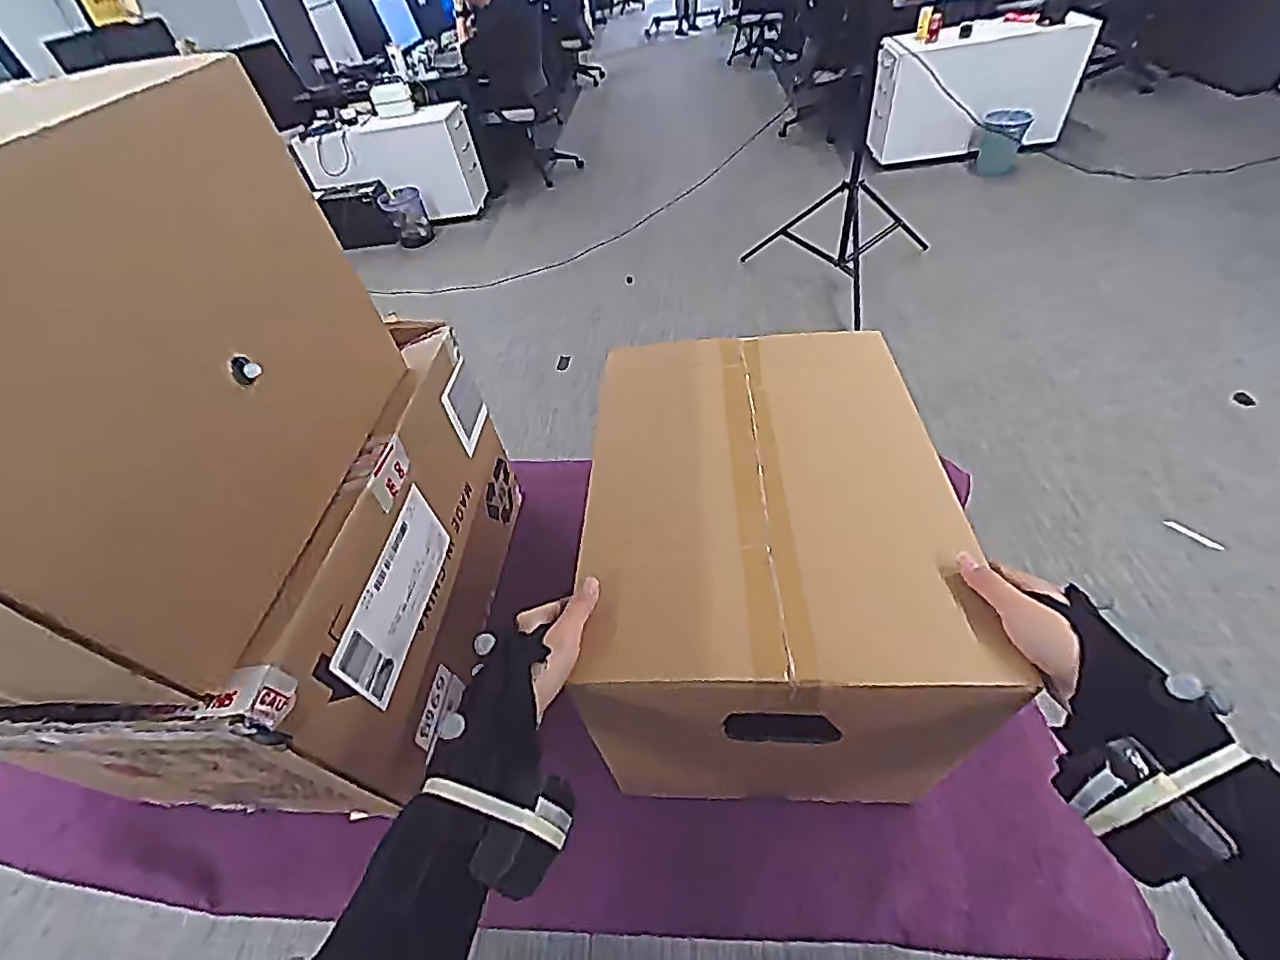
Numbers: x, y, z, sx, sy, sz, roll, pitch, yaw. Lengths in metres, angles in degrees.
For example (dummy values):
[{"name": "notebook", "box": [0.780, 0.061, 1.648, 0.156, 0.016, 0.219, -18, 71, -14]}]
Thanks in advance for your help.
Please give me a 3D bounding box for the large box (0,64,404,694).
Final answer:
[{"name": "large box", "box": [-0.455, -0.083, 0.437, 0.320, 0.320, 0.408, -5, 48, 8]}]
